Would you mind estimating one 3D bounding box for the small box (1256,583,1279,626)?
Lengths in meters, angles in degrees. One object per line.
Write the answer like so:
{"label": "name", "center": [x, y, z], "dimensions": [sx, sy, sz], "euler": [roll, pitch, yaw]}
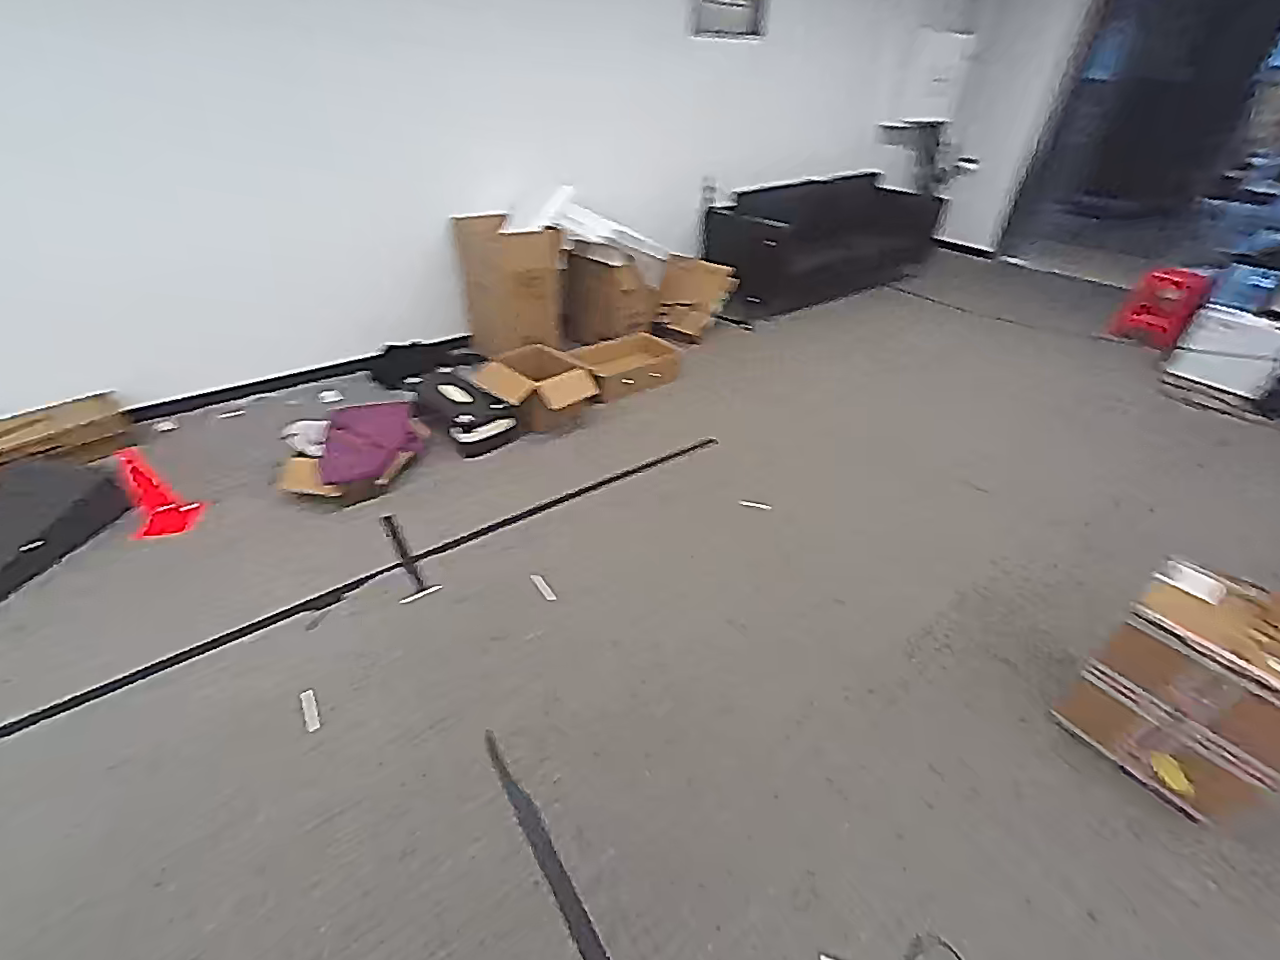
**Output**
{"label": "small box", "center": [1.623, 0.277, 1.260], "dimensions": [0.179, 0.176, 0.168], "euler": [-20, 44, -22]}
